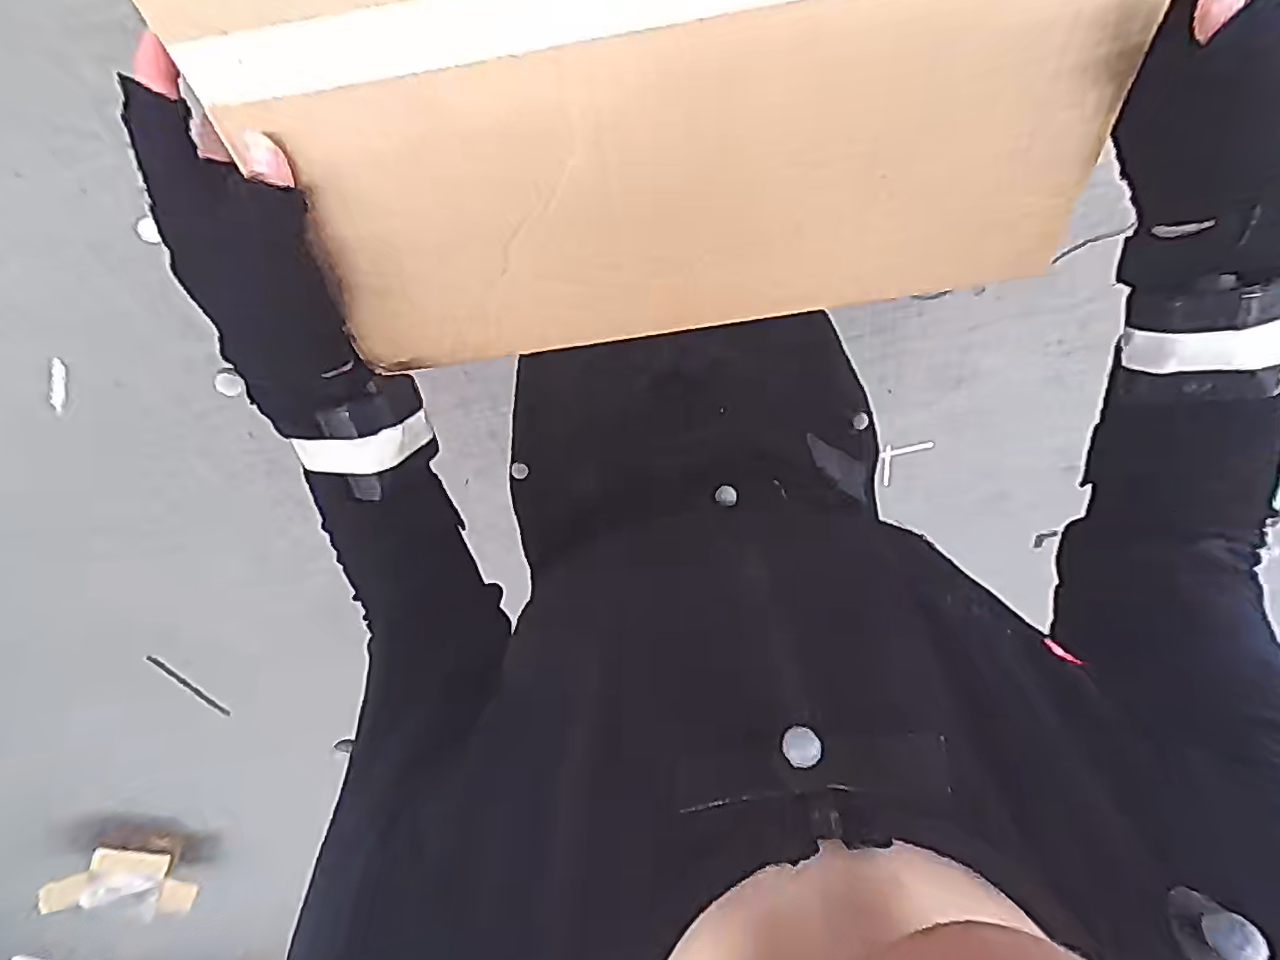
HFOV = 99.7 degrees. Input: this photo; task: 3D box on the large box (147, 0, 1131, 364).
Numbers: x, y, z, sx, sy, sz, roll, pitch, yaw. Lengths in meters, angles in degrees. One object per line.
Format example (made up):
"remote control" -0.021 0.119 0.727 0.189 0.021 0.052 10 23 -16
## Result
"large box" 0.000 -0.311 0.311 0.408 0.320 0.320 -8 138 3
